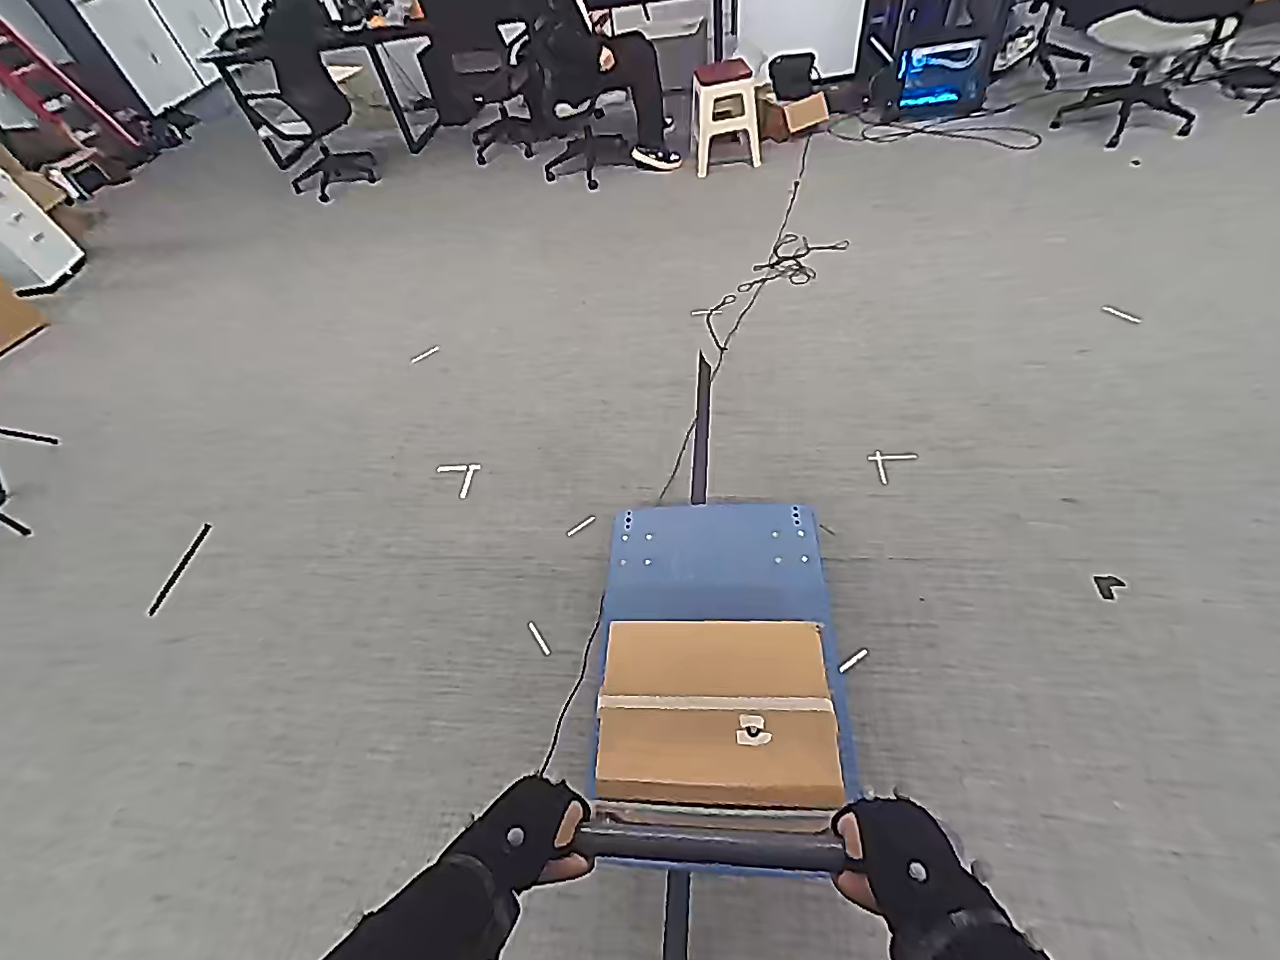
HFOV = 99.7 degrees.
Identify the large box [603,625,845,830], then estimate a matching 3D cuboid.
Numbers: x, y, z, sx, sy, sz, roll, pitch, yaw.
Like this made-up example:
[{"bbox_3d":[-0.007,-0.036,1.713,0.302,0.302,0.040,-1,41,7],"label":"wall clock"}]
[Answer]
[{"bbox_3d":[0.153,0.503,1.090,0.408,0.320,0.320,-2,52,7],"label":"large box"}]
